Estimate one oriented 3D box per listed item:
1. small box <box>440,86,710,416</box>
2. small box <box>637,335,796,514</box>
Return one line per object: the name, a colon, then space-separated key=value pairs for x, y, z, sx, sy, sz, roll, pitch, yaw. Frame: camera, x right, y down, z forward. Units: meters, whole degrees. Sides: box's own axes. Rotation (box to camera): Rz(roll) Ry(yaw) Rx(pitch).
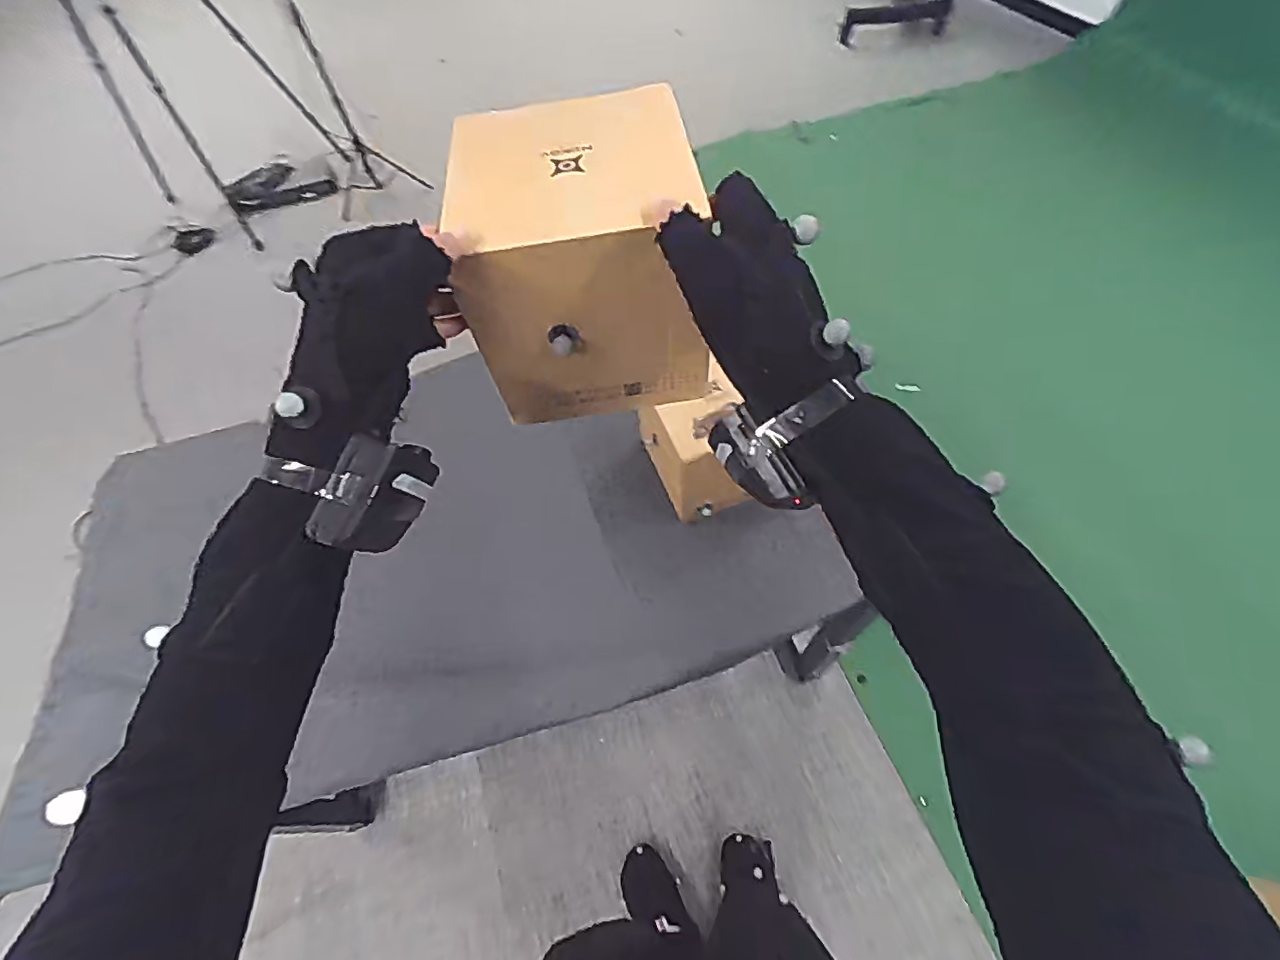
small box: x=-0.038 y=-0.165 z=0.425 sx=0.168 sy=0.176 sz=0.179 roll=-9 pitch=57 yaw=1
small box: x=0.101 y=-0.071 z=0.778 sx=0.168 sy=0.176 sz=0.179 roll=-20 pitch=57 yaw=-8
